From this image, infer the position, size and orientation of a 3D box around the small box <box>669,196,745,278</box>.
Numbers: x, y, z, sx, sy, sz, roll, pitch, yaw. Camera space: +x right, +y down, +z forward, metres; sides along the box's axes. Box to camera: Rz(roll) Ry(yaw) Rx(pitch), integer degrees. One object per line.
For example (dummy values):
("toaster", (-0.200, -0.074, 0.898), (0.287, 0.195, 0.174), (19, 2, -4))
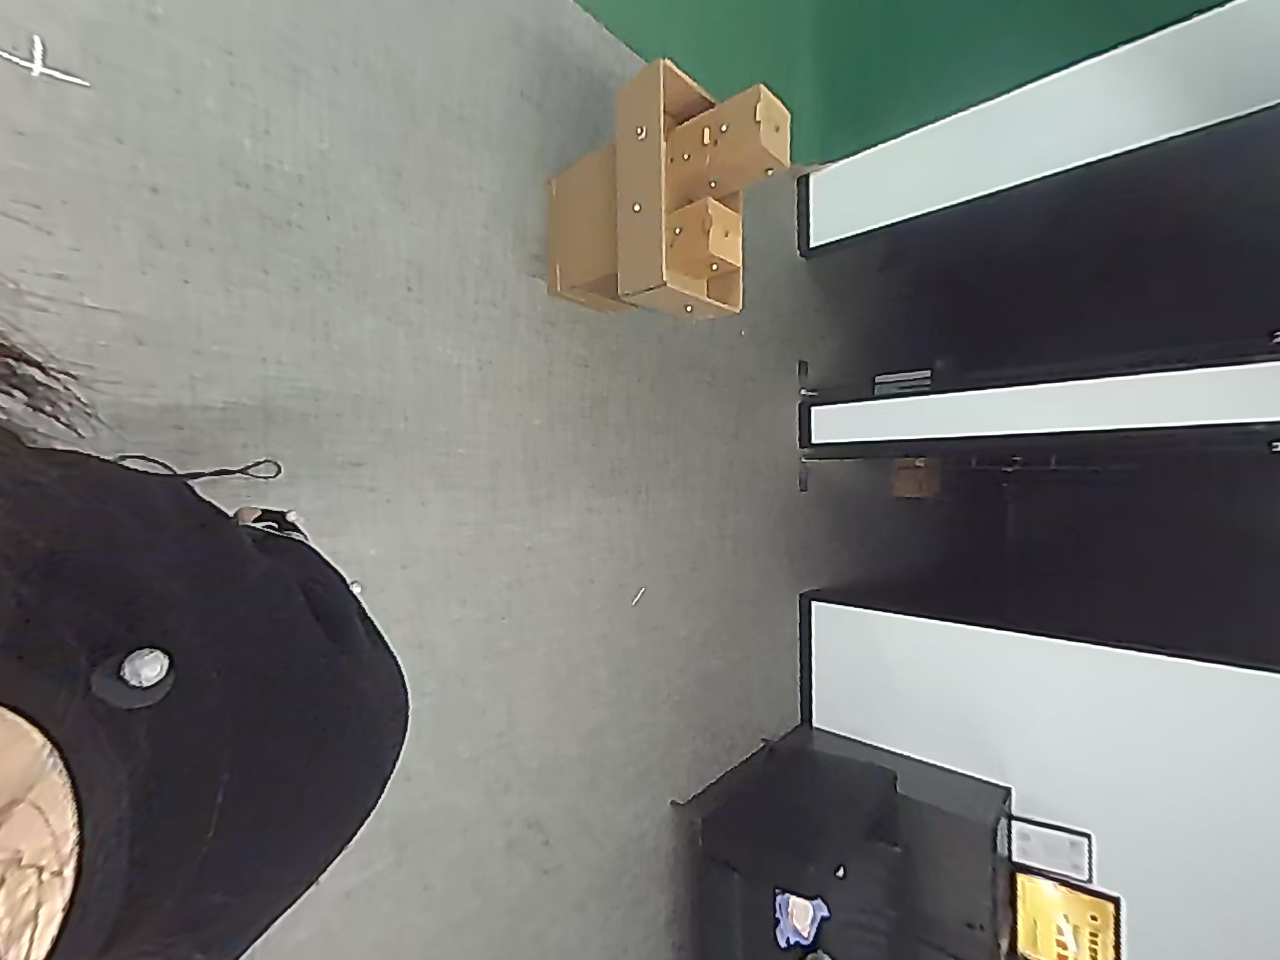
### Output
("small box", (0.209, -0.743, 1.680), (0.179, 0.176, 0.168), (-2, 91, -46))

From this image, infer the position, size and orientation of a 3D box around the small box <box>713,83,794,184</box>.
("small box", (0.330, -0.990, 1.566), (0.179, 0.176, 0.168), (-1, 92, -47))
